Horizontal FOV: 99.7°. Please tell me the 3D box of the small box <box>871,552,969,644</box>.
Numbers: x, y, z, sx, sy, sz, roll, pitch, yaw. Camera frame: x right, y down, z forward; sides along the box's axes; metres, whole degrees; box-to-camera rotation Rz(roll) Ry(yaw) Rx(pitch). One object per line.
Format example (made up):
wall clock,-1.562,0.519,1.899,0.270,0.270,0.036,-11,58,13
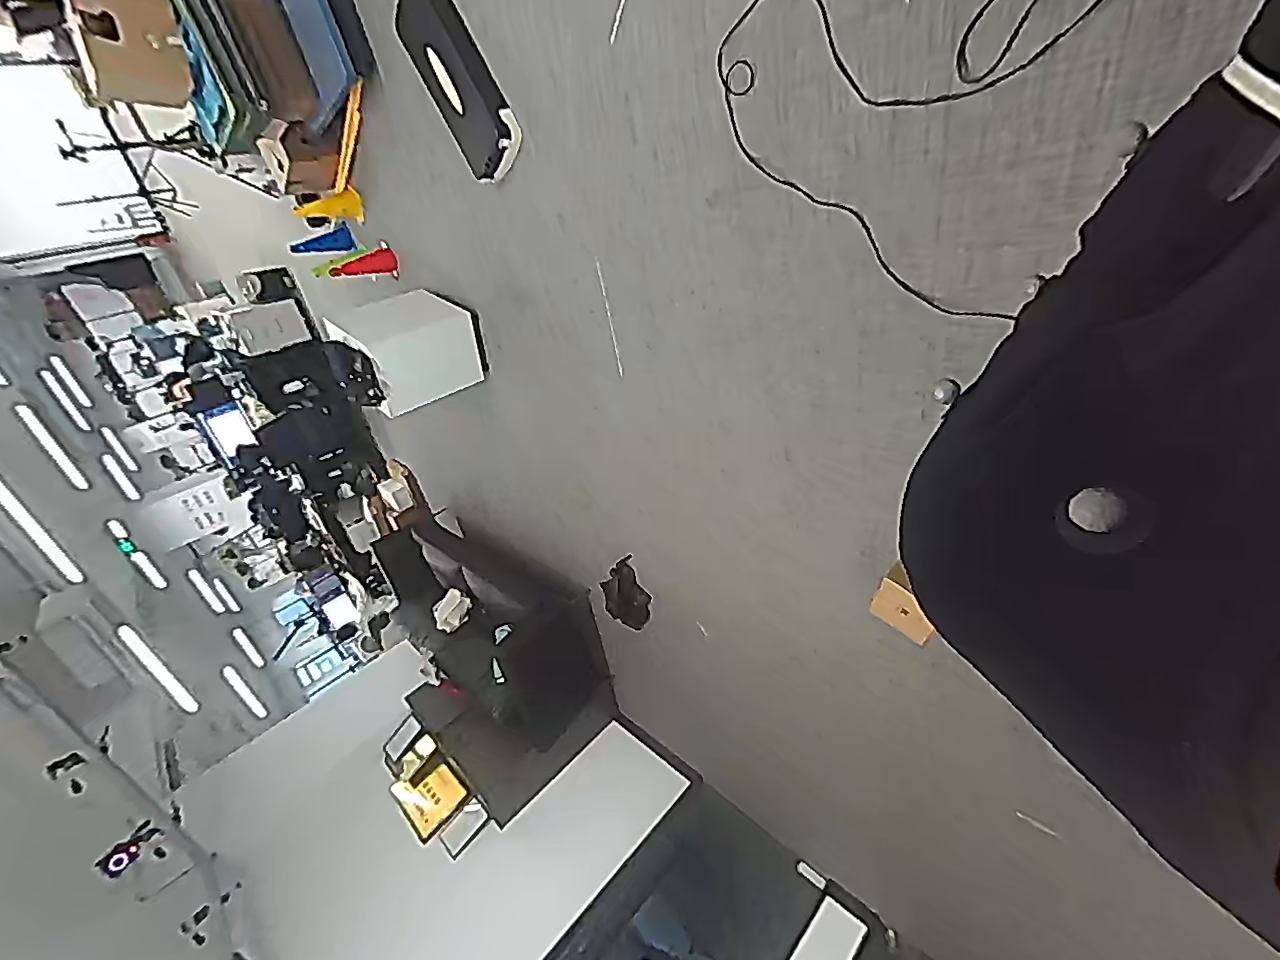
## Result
small box,0.820,0.337,1.587,0.179,0.176,0.168,34,141,30
